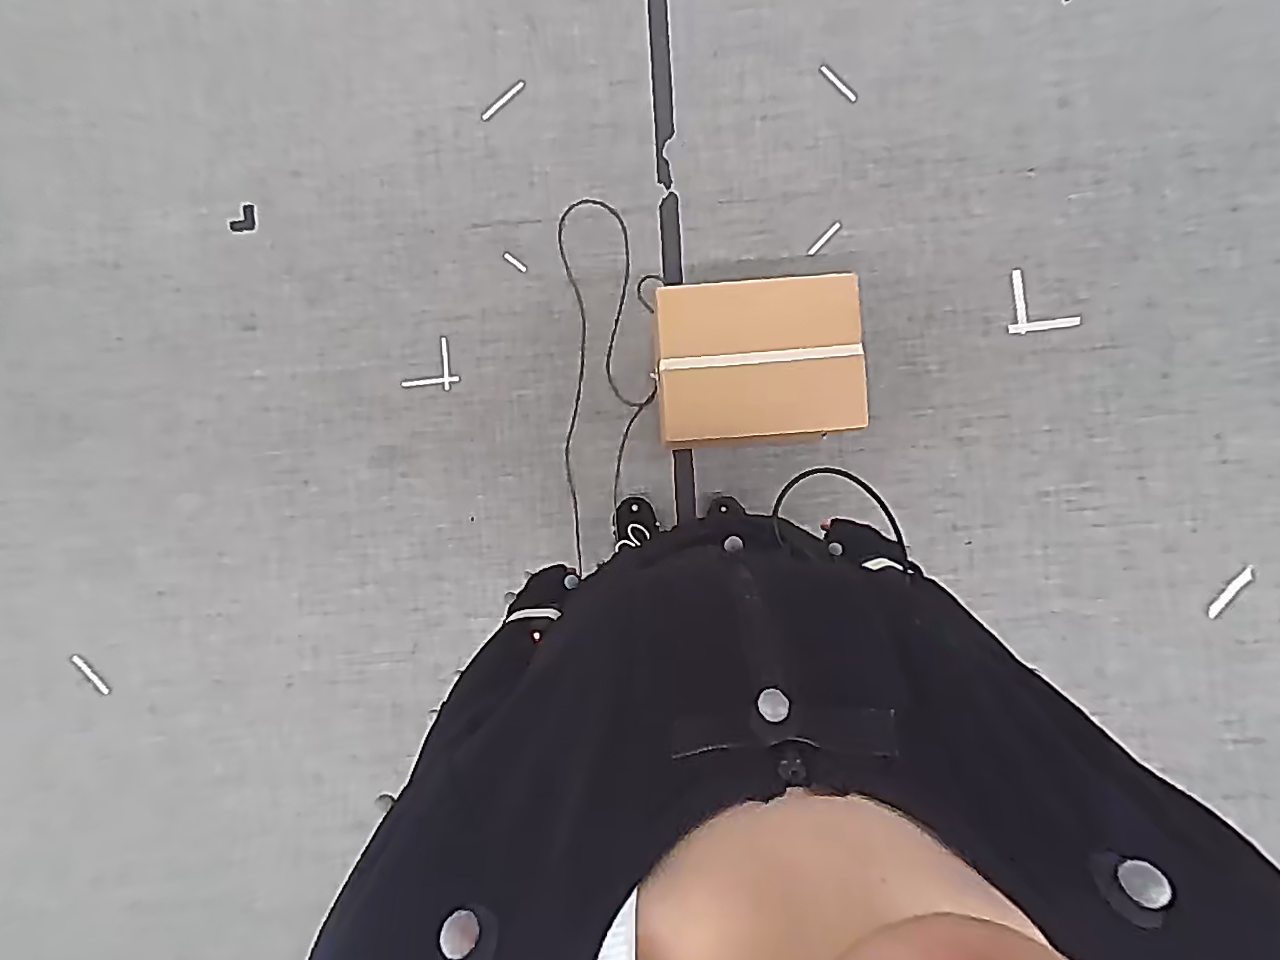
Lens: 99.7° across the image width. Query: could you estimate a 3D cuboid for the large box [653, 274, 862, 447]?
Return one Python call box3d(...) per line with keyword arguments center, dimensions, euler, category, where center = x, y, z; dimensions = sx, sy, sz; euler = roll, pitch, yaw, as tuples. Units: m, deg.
box3d(center=(0.242, -0.247, 1.236), dimensions=(0.408, 0.320, 0.320), euler=(-4, 90, 1), category="large box")
